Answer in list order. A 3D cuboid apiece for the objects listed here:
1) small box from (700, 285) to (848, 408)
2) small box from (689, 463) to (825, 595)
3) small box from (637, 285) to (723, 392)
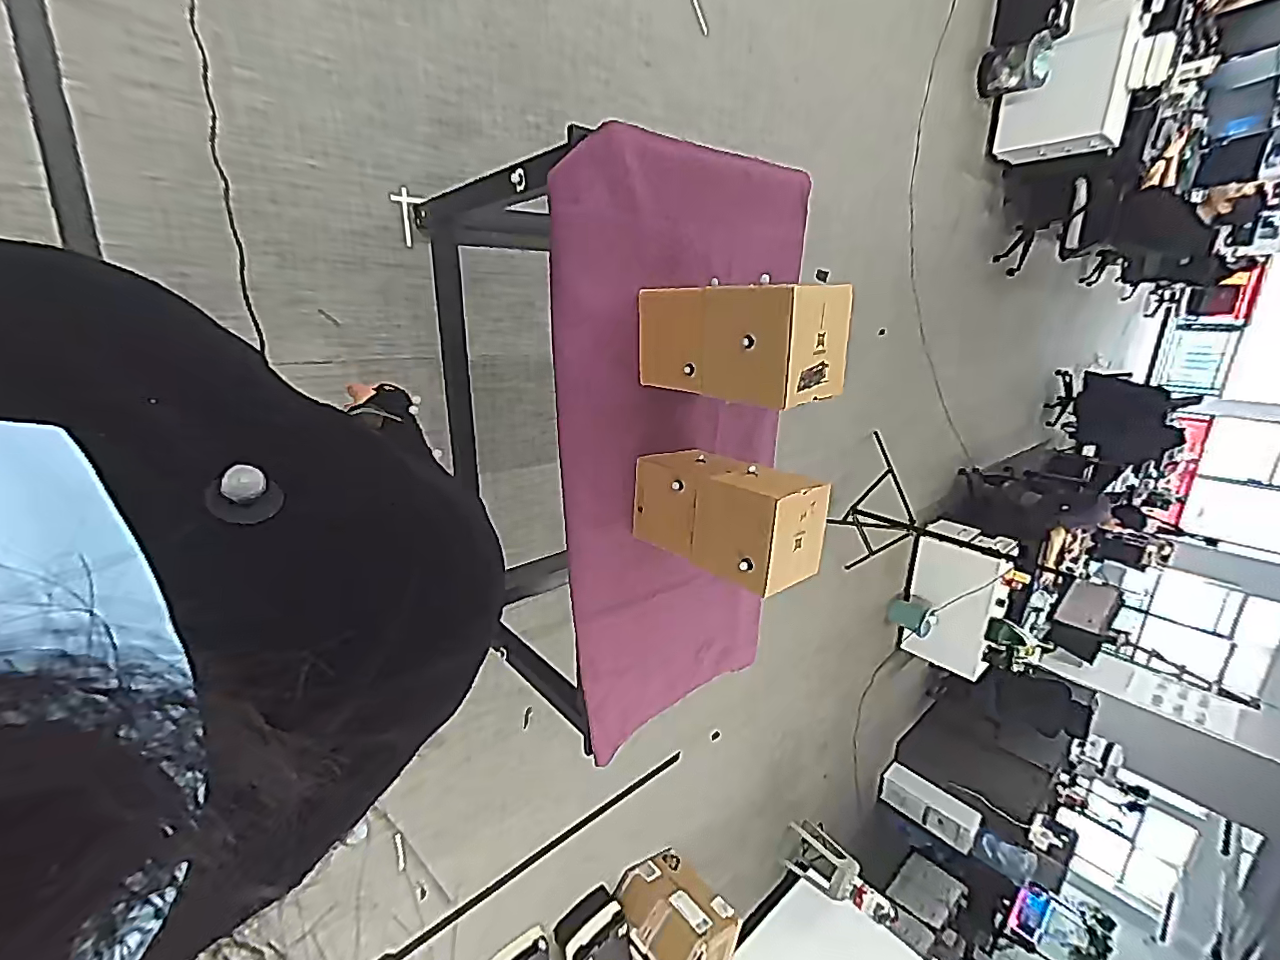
[{"bbox_3d":[0.212,-0.225,0.884,0.168,0.176,0.179,-18,115,-39],"label":"small box"},{"bbox_3d":[0.206,0.078,0.974,0.168,0.176,0.179,-11,111,-42],"label":"small box"},{"bbox_3d":[0.106,-0.267,1.003,0.168,0.176,0.179,-17,115,-38],"label":"small box"}]
